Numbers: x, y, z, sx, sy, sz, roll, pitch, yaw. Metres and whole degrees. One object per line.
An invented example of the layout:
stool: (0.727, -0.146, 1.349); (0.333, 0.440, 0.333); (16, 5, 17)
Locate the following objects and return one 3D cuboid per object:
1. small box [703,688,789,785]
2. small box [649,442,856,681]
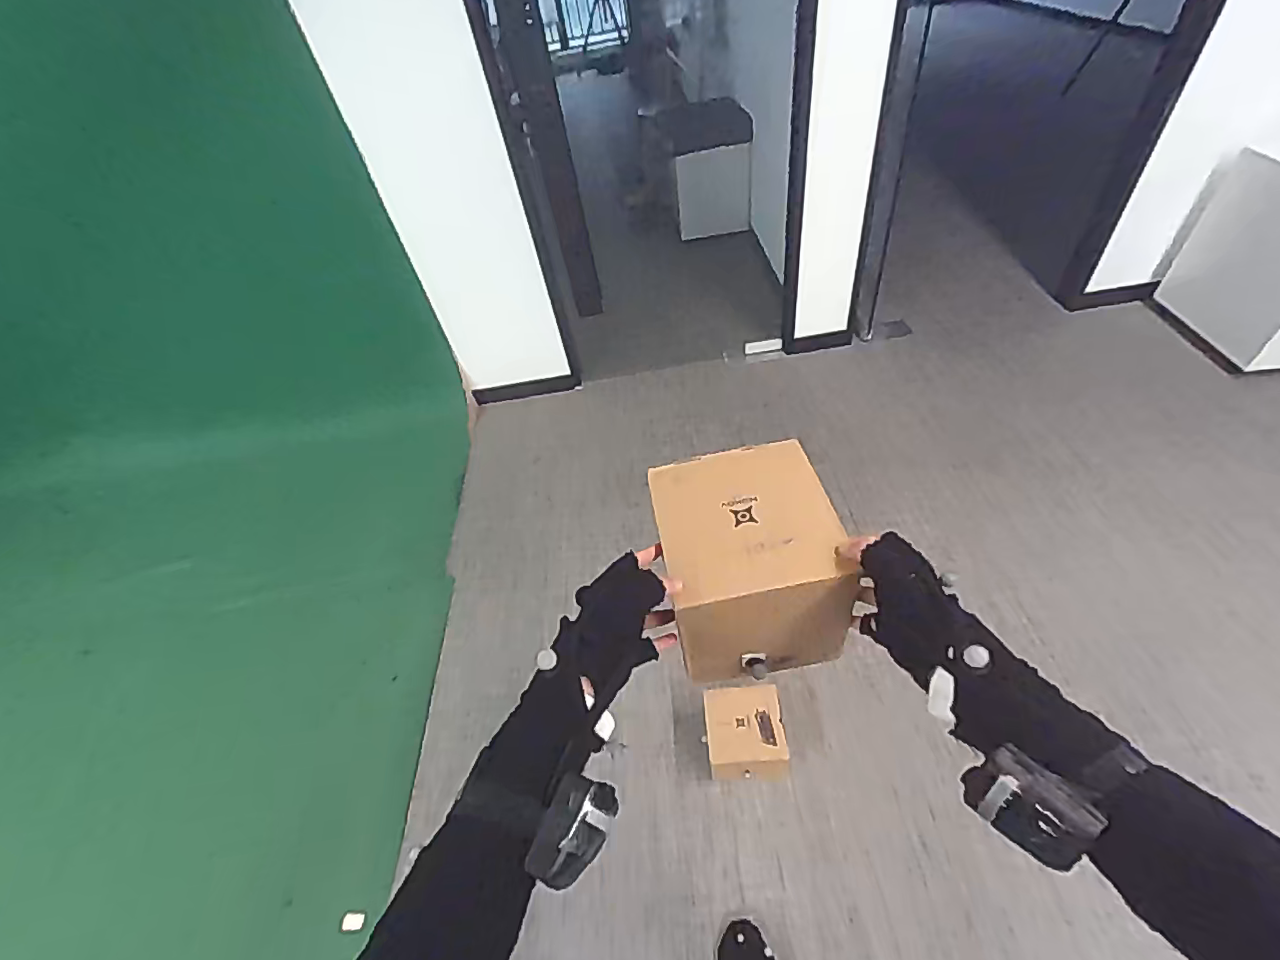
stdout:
small box: (0.249, 0.613, 1.290); (0.179, 0.176, 0.168); (-7, 46, 6)
small box: (0.110, 0.089, 0.586); (0.168, 0.176, 0.179); (-12, 46, 1)
